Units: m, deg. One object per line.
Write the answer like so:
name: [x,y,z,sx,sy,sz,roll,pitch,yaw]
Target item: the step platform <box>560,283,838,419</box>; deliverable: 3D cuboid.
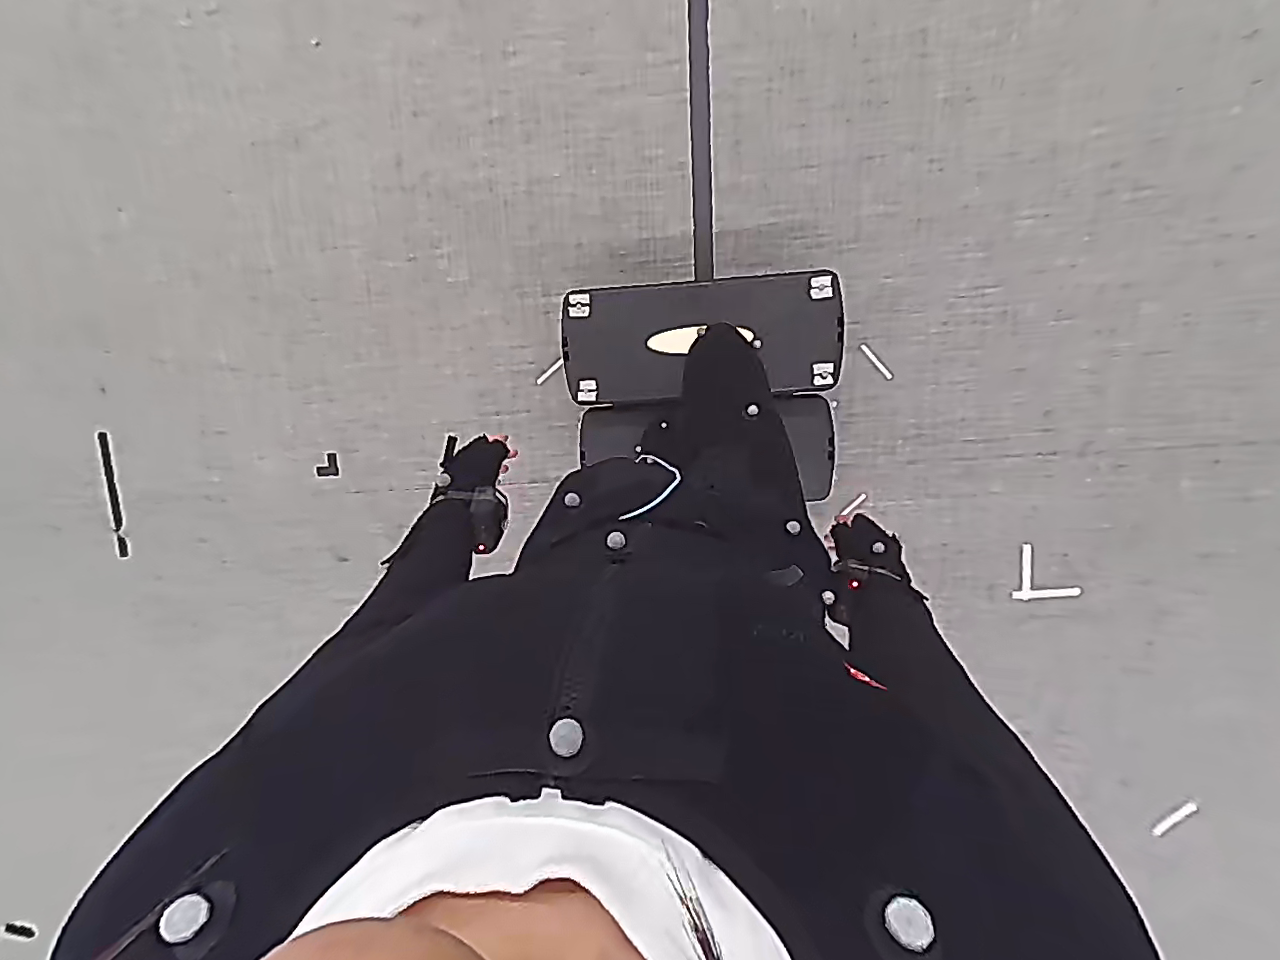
step platform: [0.141,-0.320,1.376,0.684,0.204,0.286,-4,100,5]
